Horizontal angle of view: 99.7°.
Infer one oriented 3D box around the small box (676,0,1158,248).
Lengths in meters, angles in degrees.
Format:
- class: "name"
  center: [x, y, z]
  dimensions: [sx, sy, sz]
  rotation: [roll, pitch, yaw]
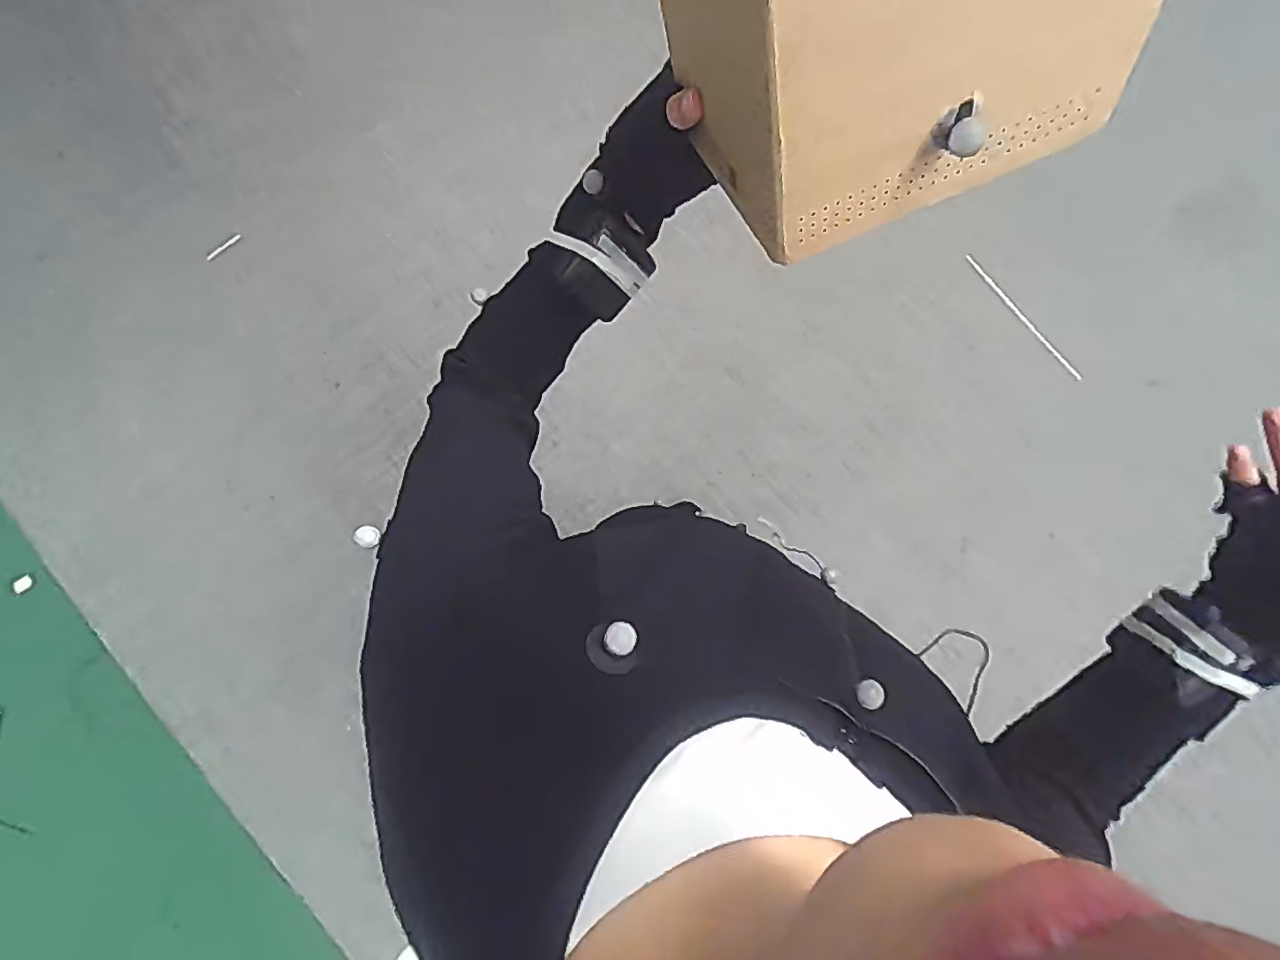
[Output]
- class: "small box"
  center: [0.114, -0.247, 0.246]
  dimensions: [0.179, 0.176, 0.168]
  rotation: [-21, 60, 4]
